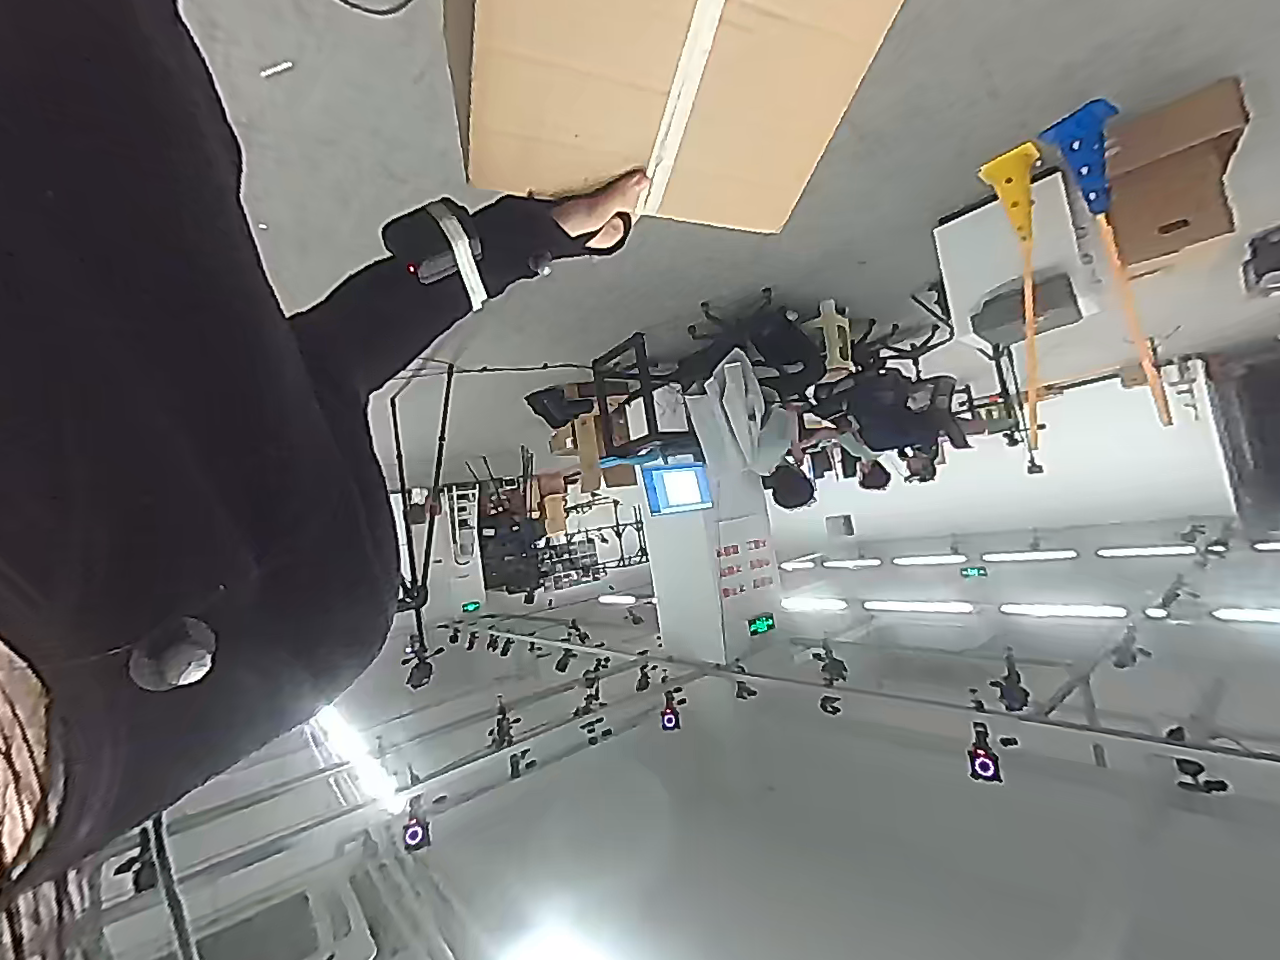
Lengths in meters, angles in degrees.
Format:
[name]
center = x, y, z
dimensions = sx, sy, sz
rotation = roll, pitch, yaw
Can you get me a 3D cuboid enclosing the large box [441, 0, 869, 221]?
[large box]
center = 0.005, -0.495, 0.432
dimensions = 0.320, 0.320, 0.408
rotation = -3, 147, -22
